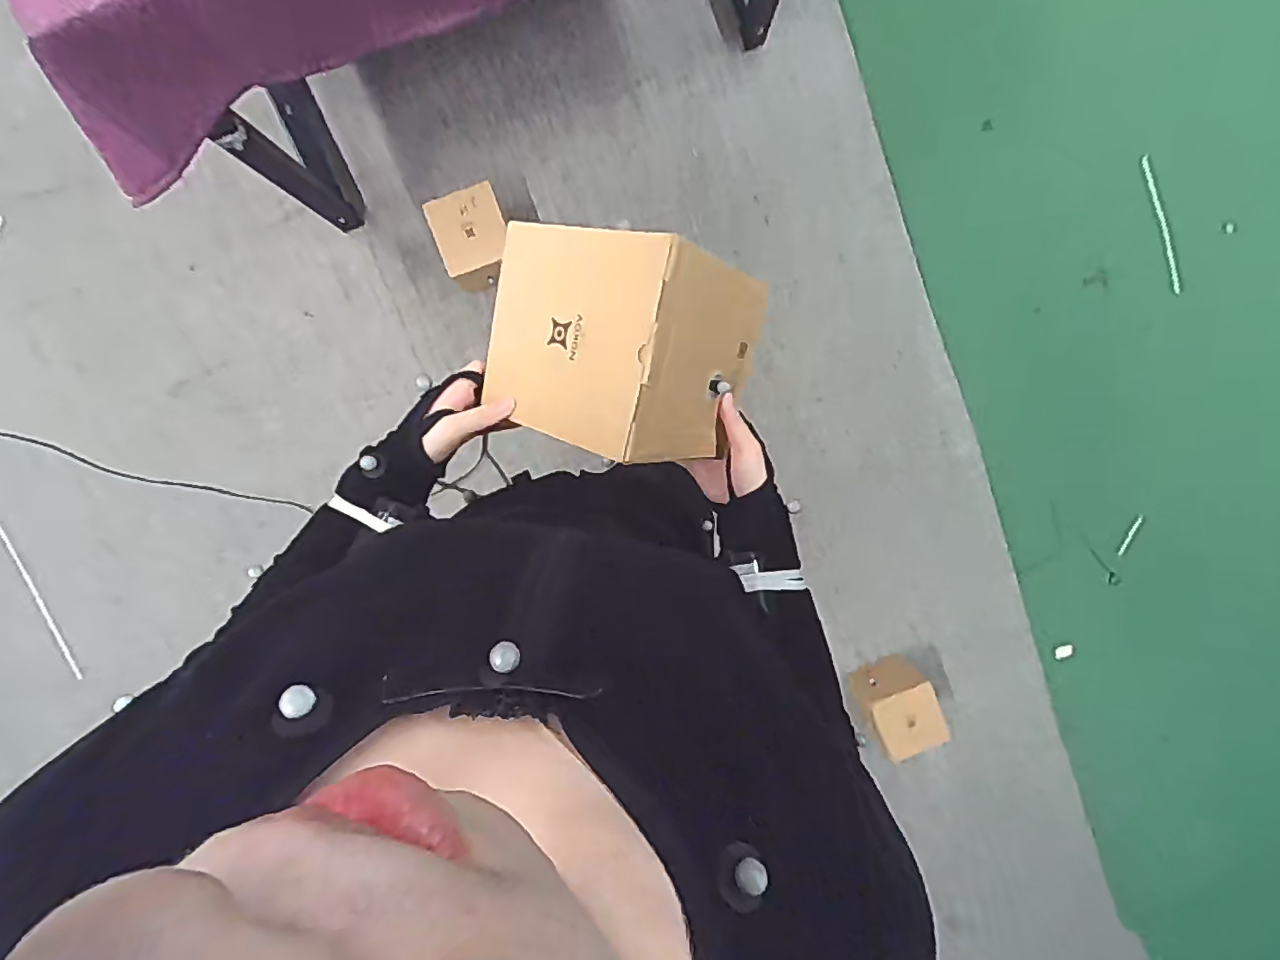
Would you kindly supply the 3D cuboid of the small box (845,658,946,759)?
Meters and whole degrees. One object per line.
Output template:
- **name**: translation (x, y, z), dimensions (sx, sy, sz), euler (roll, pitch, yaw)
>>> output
- **small box**: translation (0.684, 0.609, 1.469), dimensions (0.168, 0.176, 0.179), euler (-22, 97, 1)

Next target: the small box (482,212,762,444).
- **small box**: translation (-0.014, -0.132, 0.501), dimensions (0.179, 0.176, 0.168), euler (21, 105, 33)
